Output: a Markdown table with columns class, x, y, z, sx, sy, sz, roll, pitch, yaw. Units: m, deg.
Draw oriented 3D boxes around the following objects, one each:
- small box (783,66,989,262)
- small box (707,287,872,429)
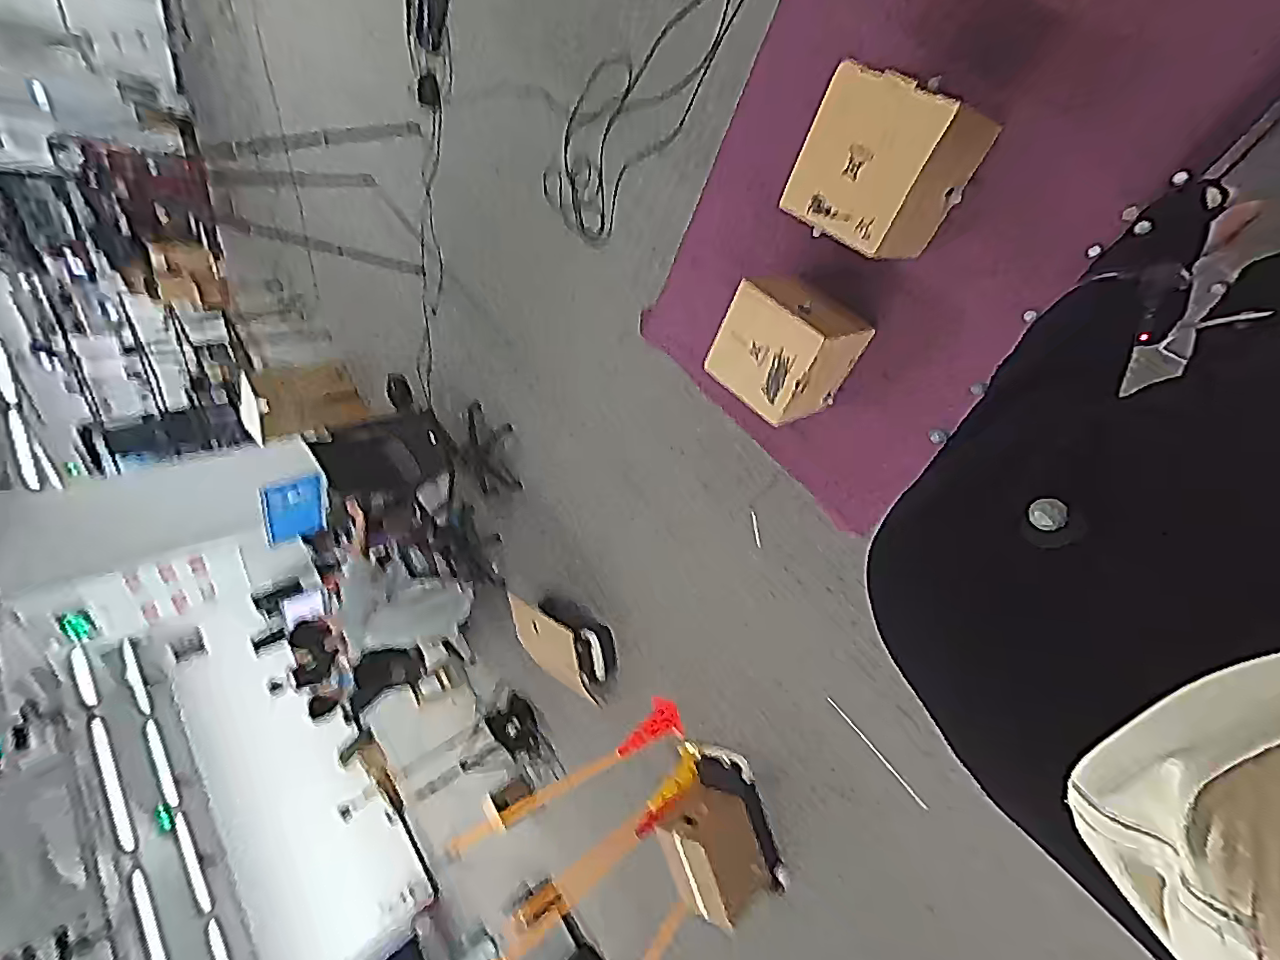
| class | x | y | z | sx | sy | sz | roll | pitch | yaw |
| --- | --- | --- | --- | --- | --- | --- | --- | --- | --- |
| small box | 0.337 | -0.419 | 0.739 | 0.168 | 0.176 | 0.179 | 45 | 134 | 26 |
| small box | 0.253 | -0.215 | 0.916 | 0.179 | 0.176 | 0.168 | 46 | 134 | 26 |
